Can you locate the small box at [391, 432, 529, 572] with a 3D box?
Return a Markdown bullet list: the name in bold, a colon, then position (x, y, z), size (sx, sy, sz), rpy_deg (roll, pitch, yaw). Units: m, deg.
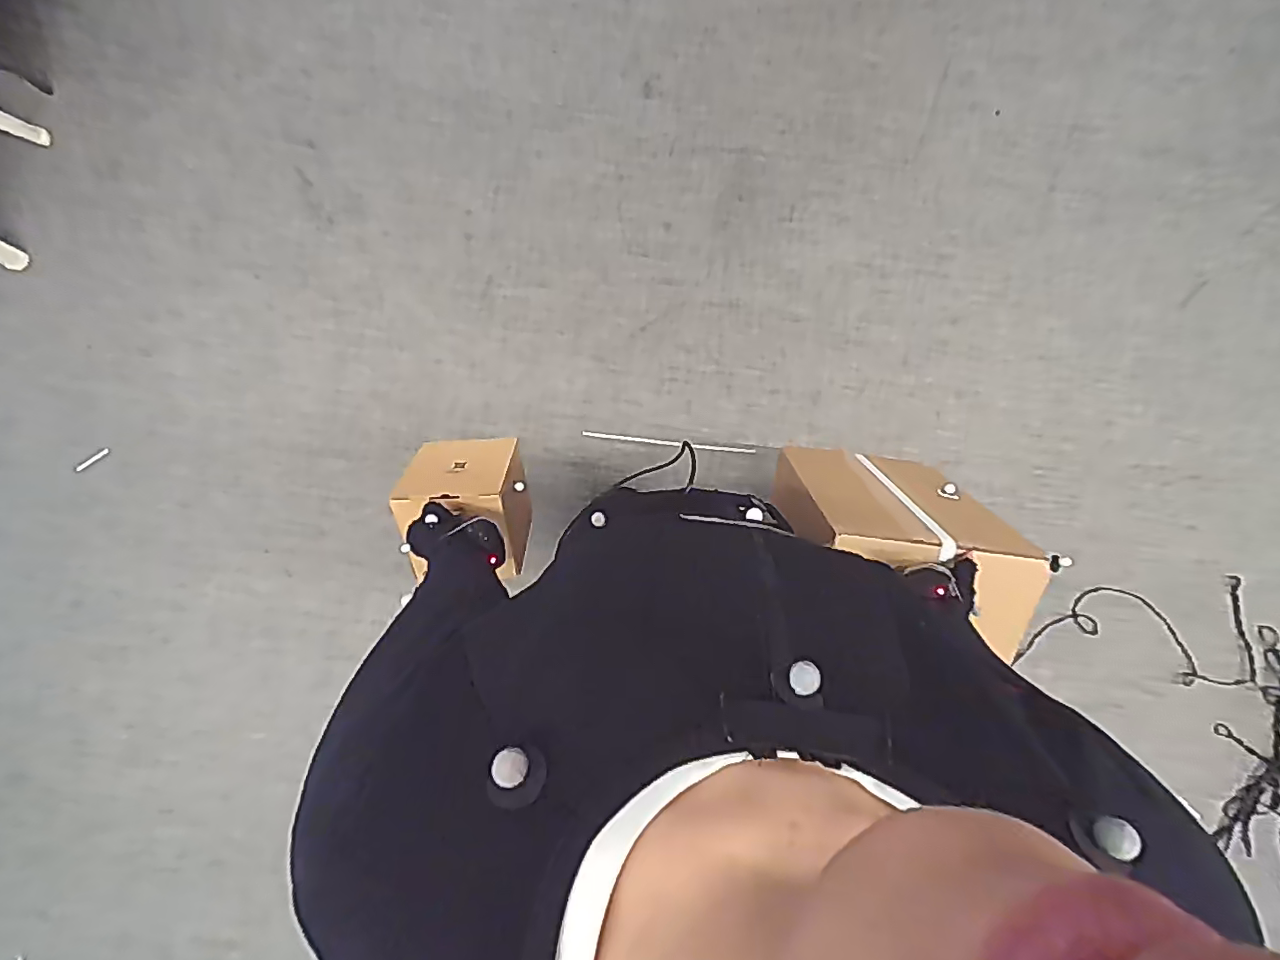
- **small box**: position (-0.289, 0.035, 0.914), size (0.168, 0.179, 0.176), rpy_deg (-3, 124, 0)
